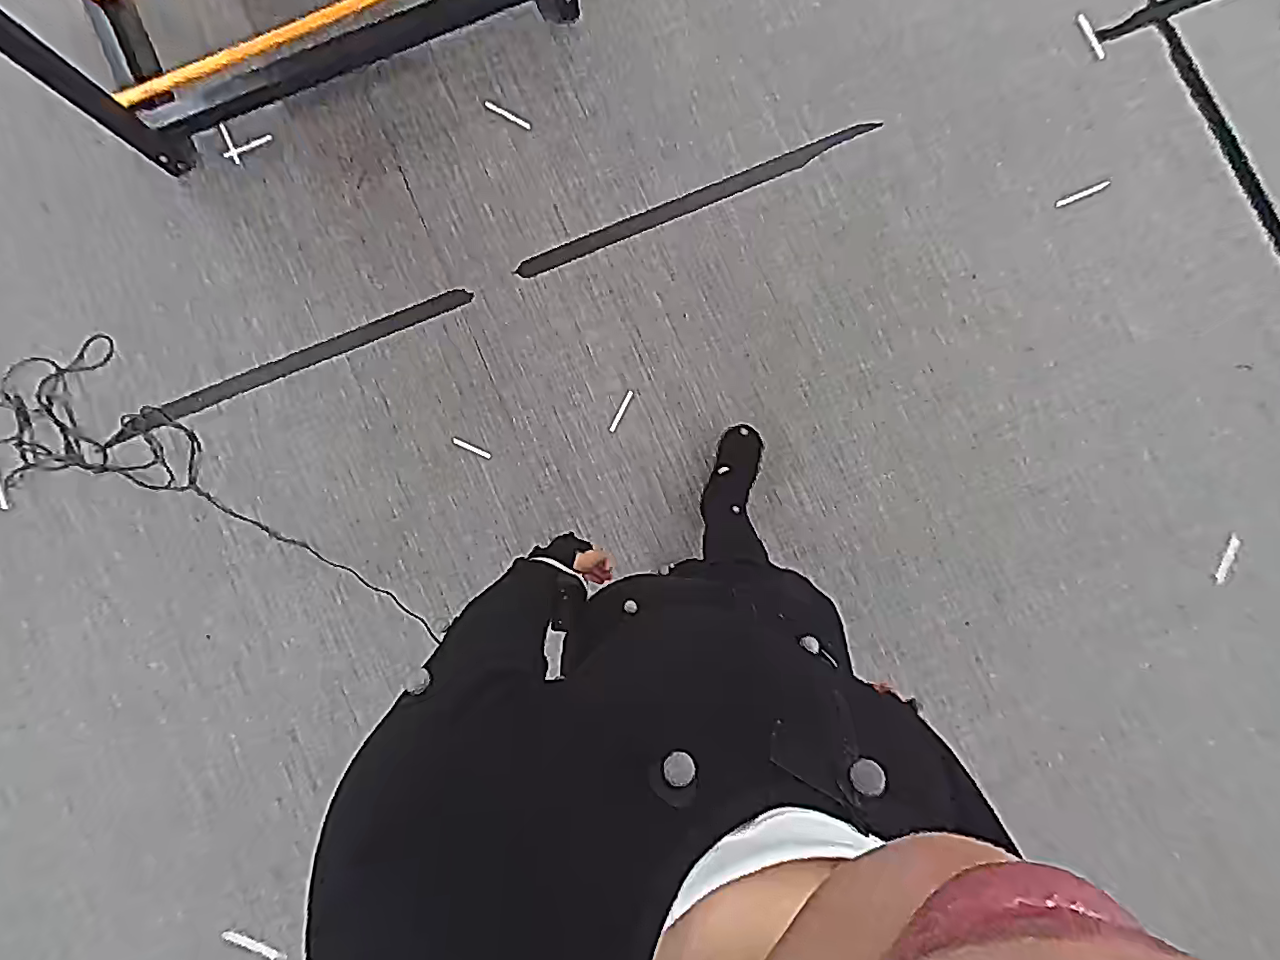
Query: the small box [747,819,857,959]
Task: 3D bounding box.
[{"bbox_3d":[0.363,0.938,1.256,0.179,0.176,0.168,-23,87,-3],"label":"small box"}]
